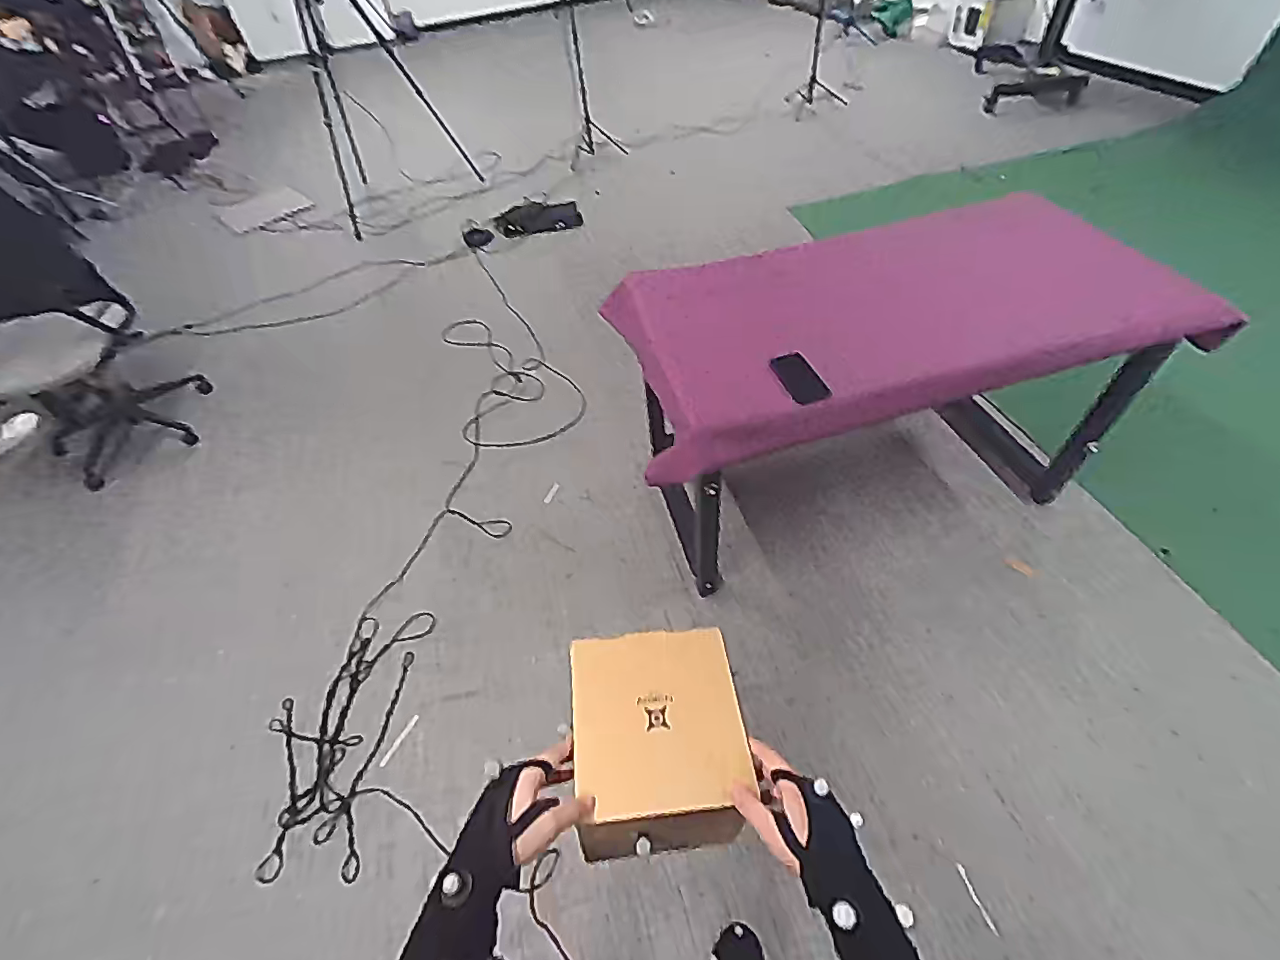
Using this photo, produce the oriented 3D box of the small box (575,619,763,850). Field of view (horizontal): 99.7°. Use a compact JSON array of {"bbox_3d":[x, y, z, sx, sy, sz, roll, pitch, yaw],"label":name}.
[{"bbox_3d":[0.020,0.275,0.579,0.168,0.176,0.179,-4,44,-5],"label":"small box"}]
